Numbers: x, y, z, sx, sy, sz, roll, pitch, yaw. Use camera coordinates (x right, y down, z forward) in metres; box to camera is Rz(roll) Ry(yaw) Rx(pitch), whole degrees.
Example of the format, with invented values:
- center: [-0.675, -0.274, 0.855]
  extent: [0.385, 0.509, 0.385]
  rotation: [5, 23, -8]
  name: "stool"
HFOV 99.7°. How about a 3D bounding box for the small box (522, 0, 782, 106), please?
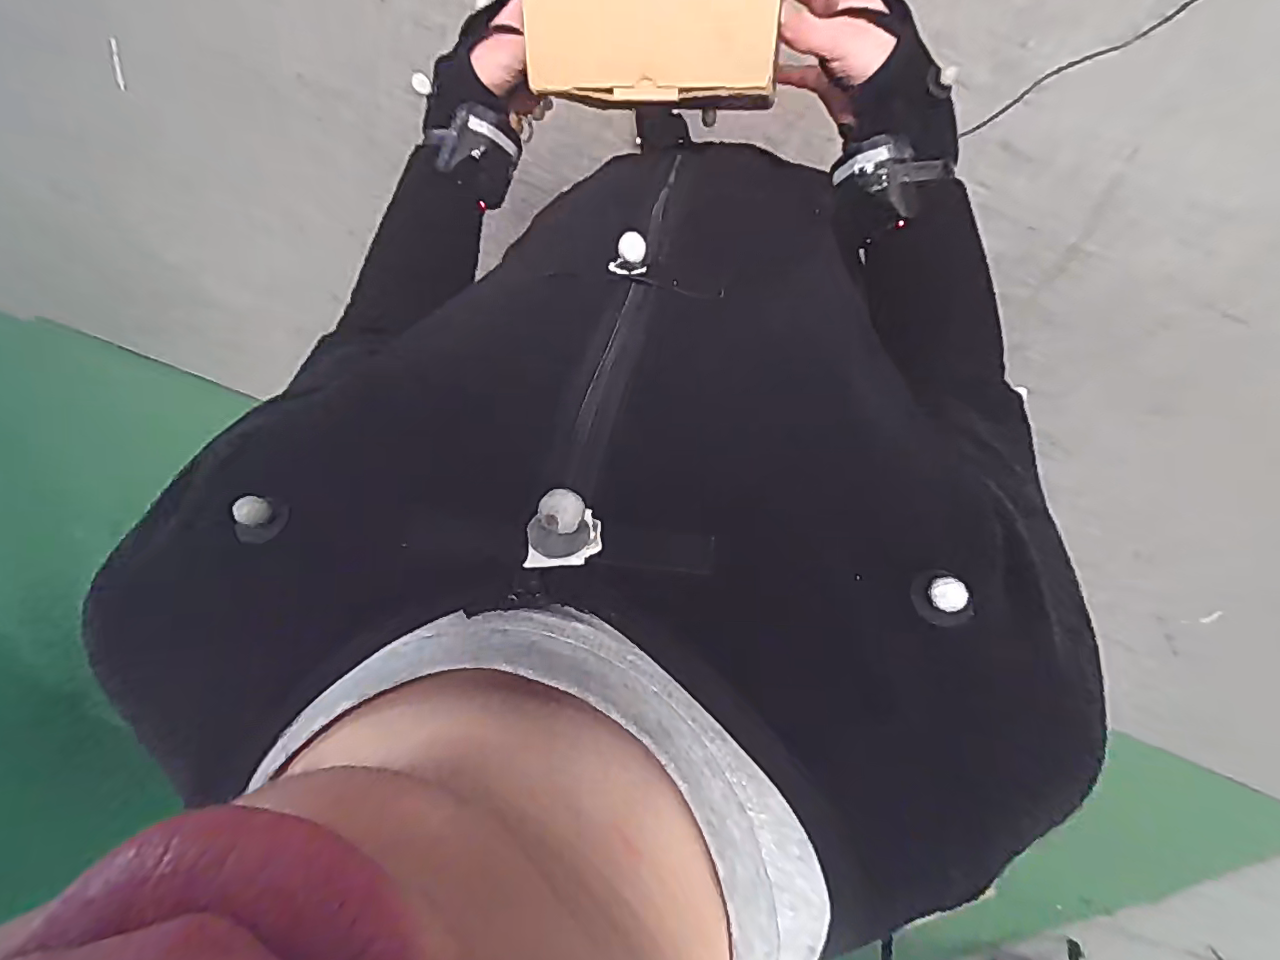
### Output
- center: [0.020, -0.377, 0.386]
  extent: [0.168, 0.176, 0.179]
  rotation: [6, 121, 10]
  name: "small box"
